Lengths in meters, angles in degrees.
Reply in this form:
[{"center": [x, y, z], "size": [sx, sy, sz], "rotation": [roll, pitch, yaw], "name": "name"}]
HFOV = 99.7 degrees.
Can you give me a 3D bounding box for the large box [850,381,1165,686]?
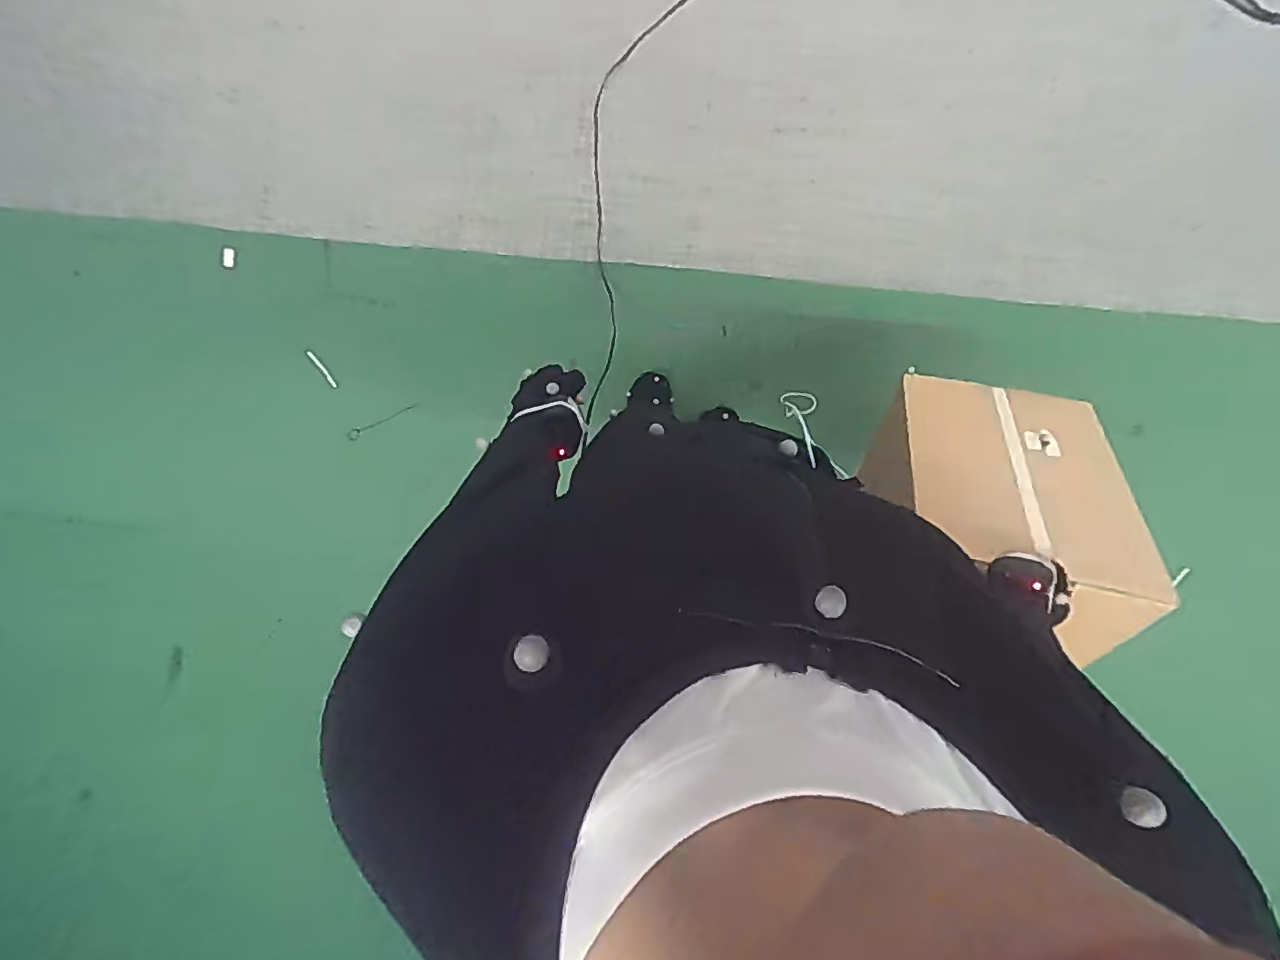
[{"center": [0.570, 0.084, 0.951], "size": [0.320, 0.408, 0.320], "rotation": [12, 137, 9], "name": "large box"}]
